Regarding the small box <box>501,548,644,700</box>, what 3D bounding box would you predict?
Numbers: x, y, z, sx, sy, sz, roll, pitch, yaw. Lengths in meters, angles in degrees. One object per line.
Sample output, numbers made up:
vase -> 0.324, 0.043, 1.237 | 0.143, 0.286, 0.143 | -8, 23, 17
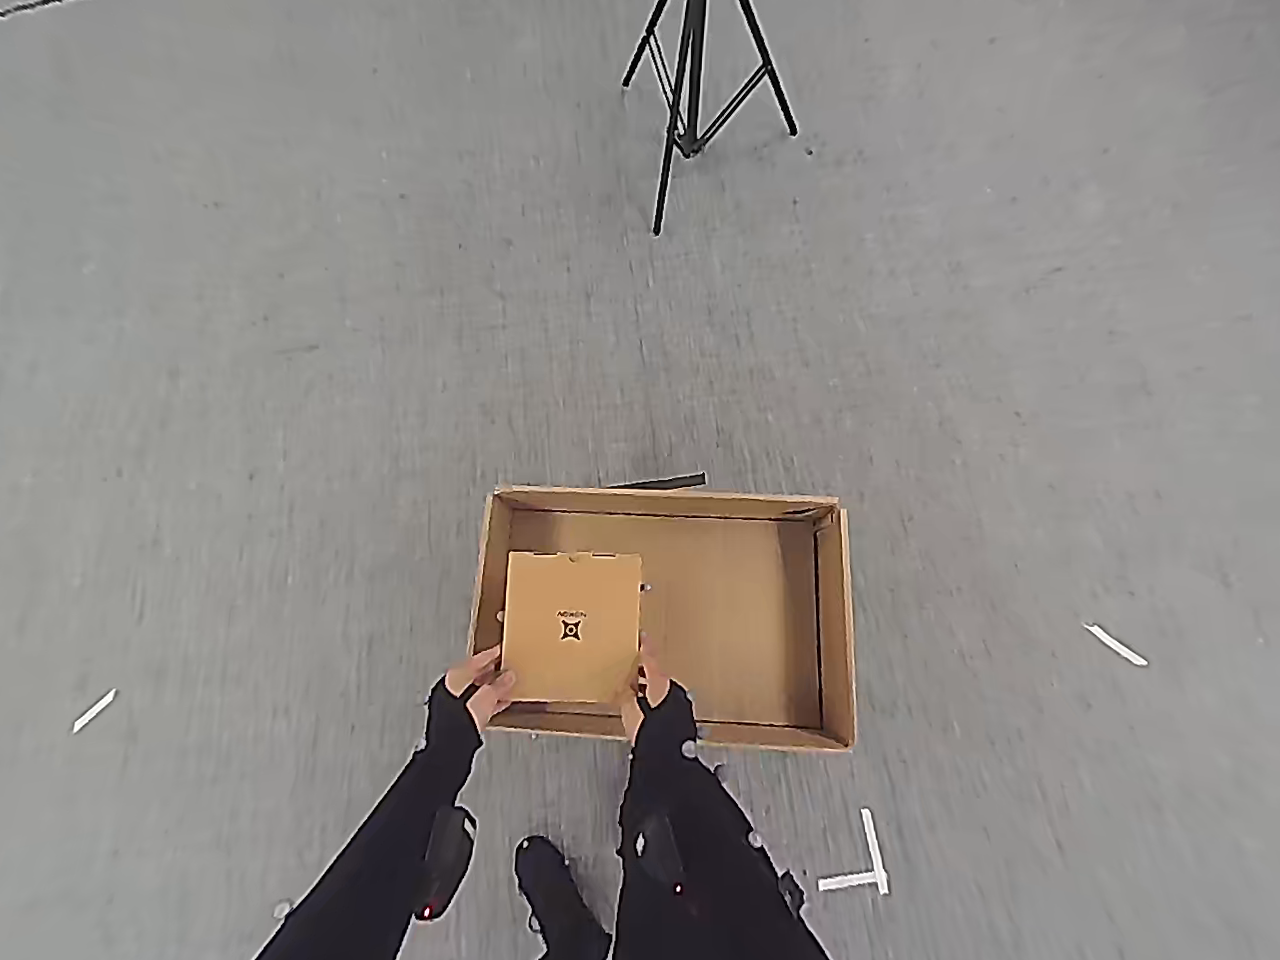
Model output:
small box -> -0.080, 0.188, 0.733 | 0.168, 0.176, 0.179 | 1, 78, 1
